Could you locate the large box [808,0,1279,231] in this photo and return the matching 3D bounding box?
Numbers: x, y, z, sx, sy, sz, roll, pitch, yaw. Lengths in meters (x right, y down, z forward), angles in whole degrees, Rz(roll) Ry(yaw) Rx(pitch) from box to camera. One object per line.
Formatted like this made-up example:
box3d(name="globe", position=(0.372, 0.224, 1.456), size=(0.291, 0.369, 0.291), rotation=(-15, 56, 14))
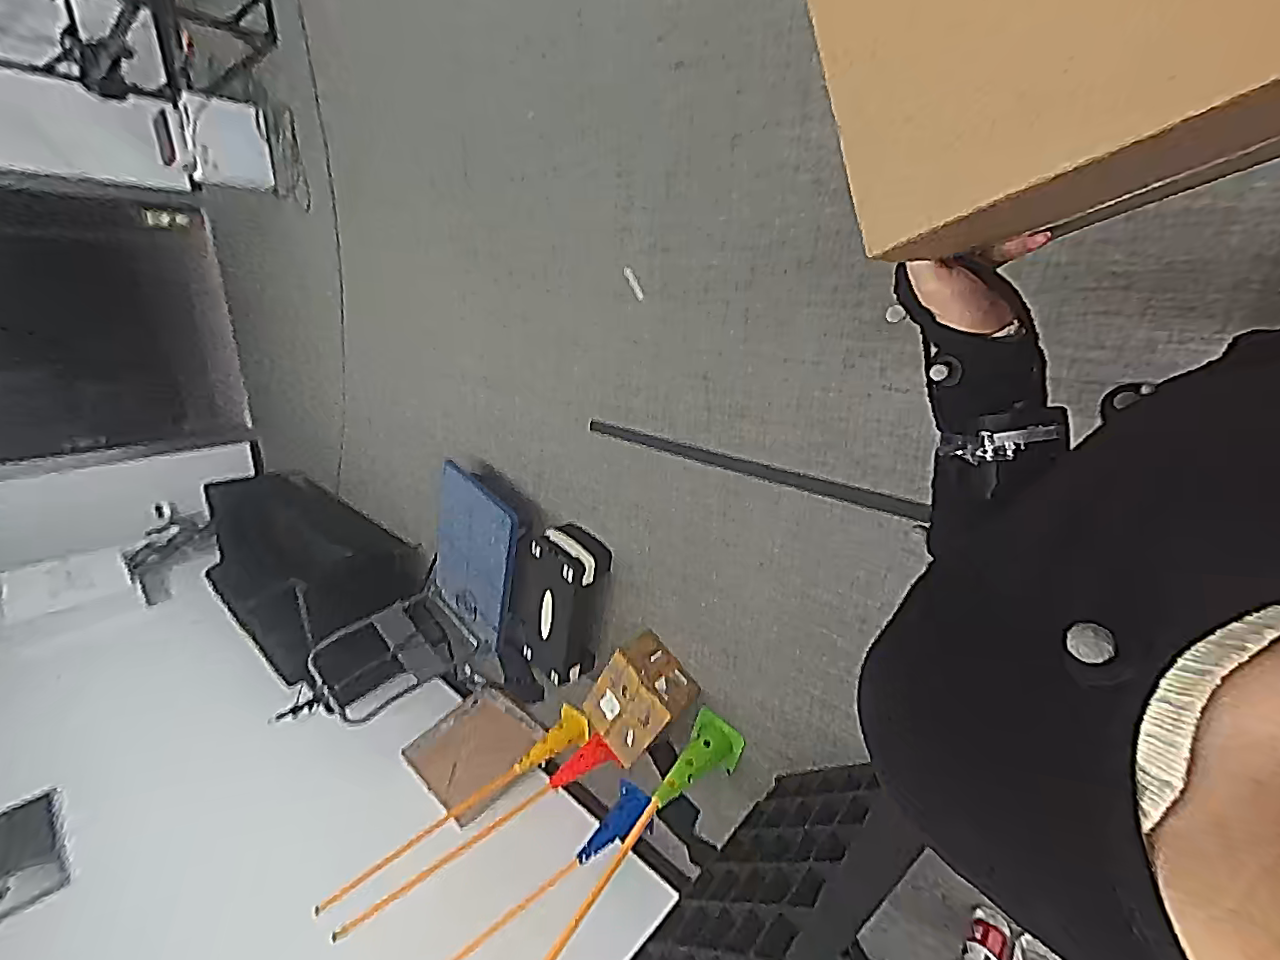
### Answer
box3d(name="large box", position=(0.310, -0.340, 0.212), size=(0.408, 0.320, 0.320), rotation=(-7, 103, 52))
